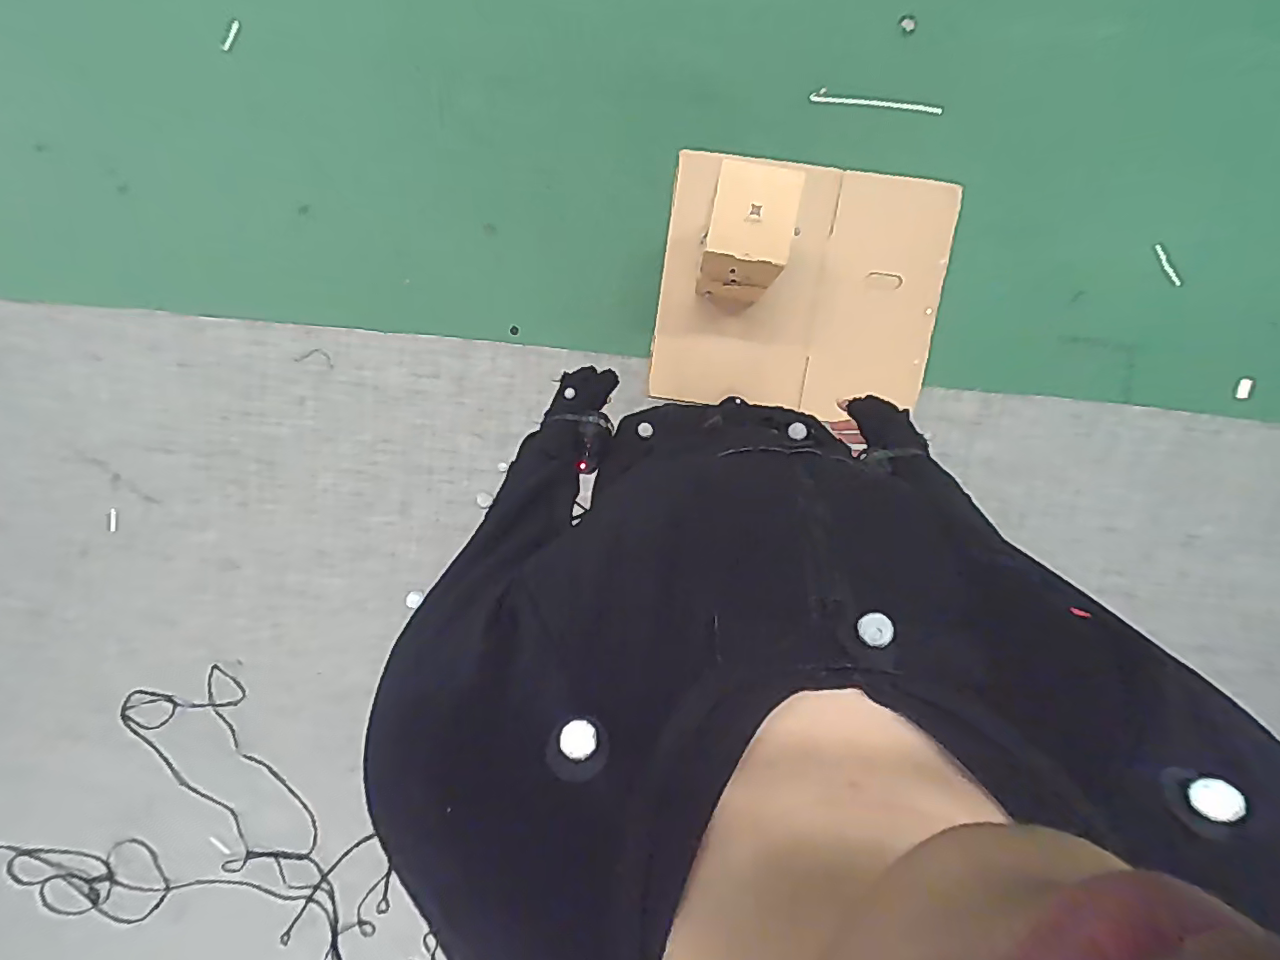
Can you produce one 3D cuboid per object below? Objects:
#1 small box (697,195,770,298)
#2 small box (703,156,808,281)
[{"bbox_3d":[0.231,-0.542,1.279,0.168,0.176,0.179,10,98,2],"label":"small box"},{"bbox_3d":[0.229,-0.529,1.116,0.168,0.176,0.179,11,99,1],"label":"small box"}]
